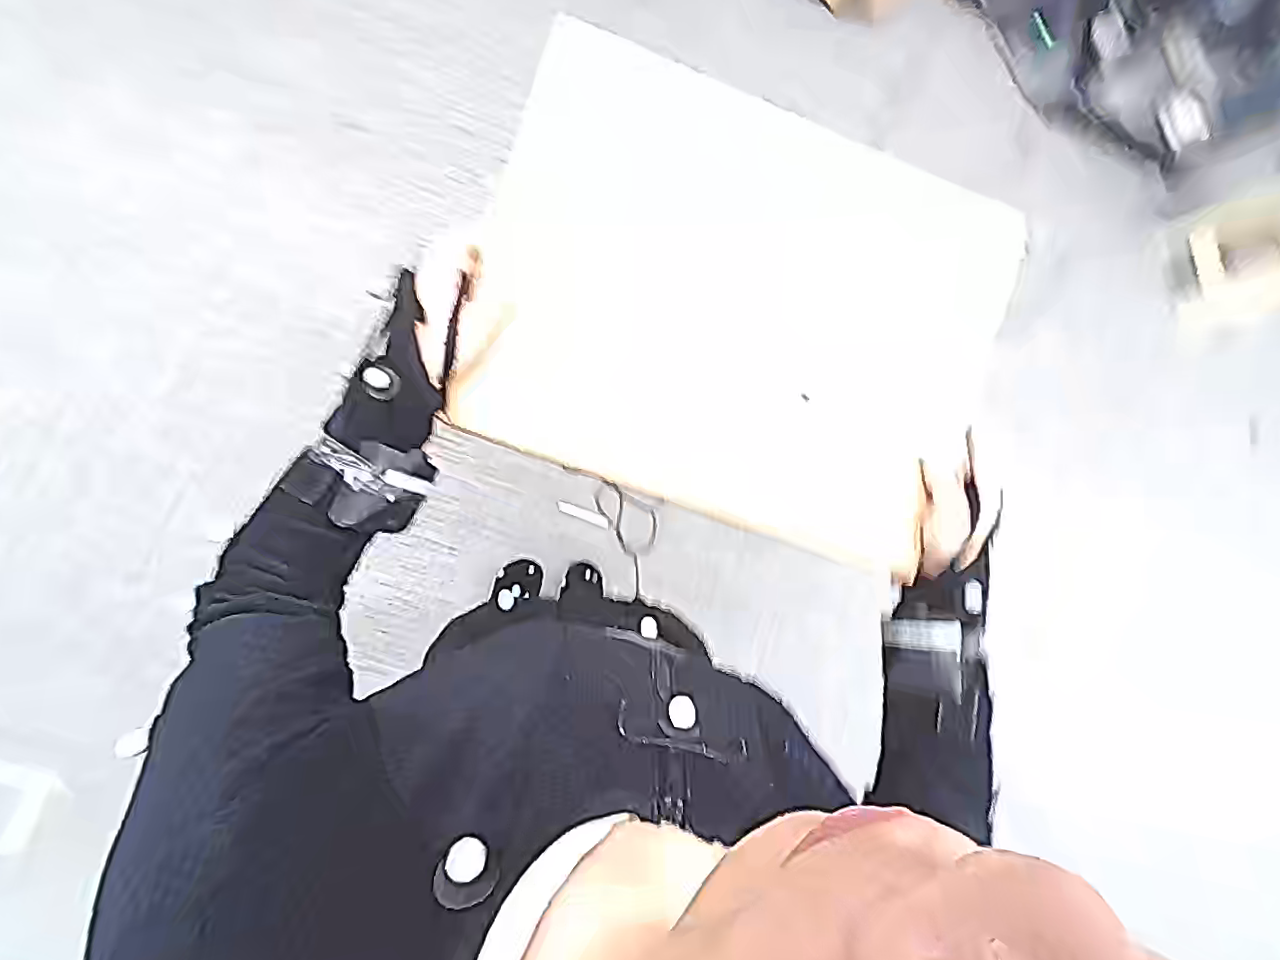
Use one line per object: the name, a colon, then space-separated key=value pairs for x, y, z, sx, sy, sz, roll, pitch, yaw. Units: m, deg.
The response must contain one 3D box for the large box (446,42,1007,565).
large box: x=0.062 y=-0.135 z=0.581 sx=0.408 sy=0.320 sz=0.320 roll=19 pitch=90 yaw=-8
